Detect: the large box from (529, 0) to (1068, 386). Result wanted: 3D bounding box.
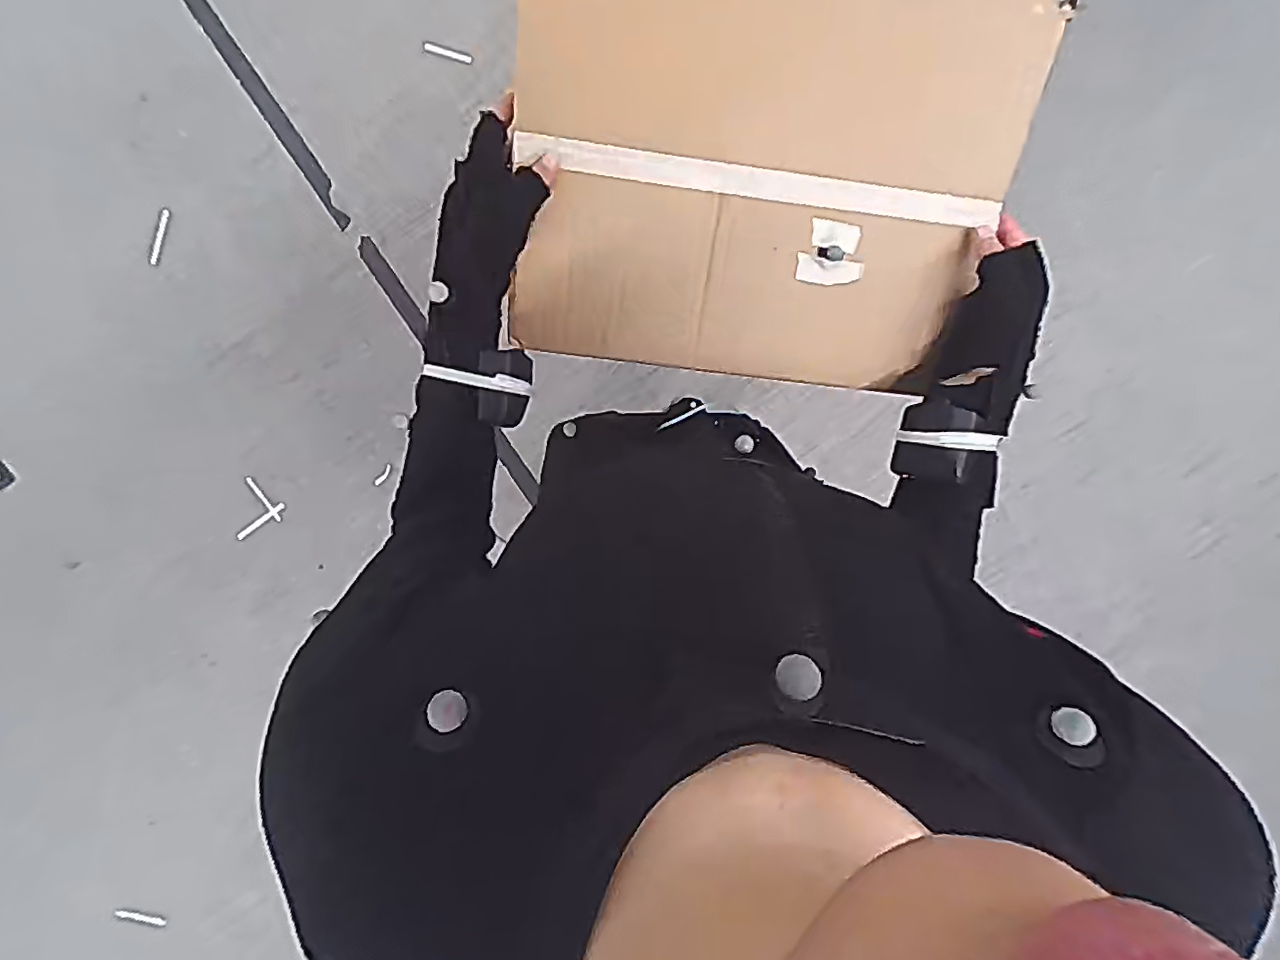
[{"bbox_3d":[0.105,-0.309,0.588,0.408,0.320,0.320,7,114,-6],"label":"large box"}]
